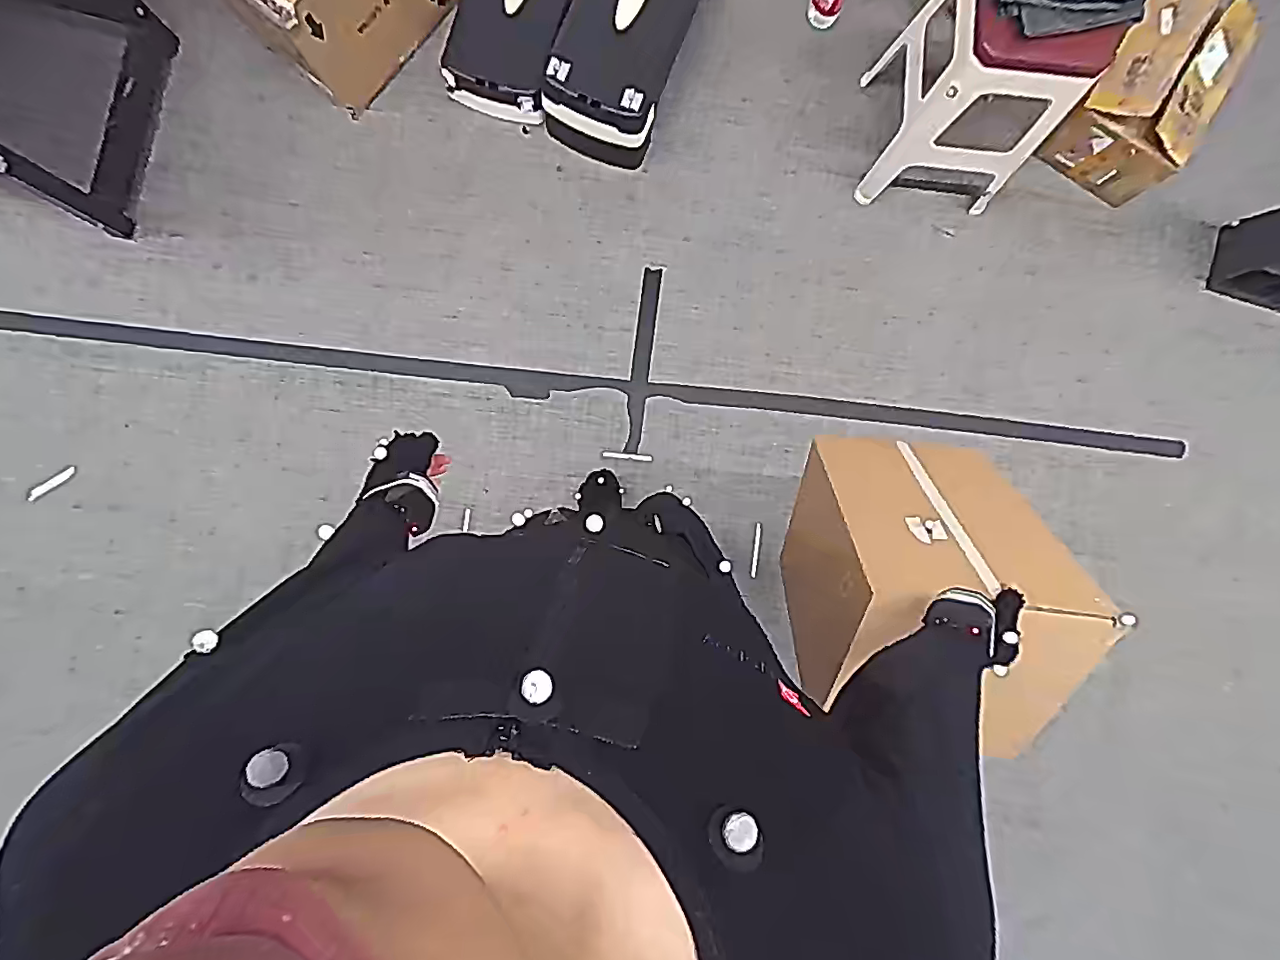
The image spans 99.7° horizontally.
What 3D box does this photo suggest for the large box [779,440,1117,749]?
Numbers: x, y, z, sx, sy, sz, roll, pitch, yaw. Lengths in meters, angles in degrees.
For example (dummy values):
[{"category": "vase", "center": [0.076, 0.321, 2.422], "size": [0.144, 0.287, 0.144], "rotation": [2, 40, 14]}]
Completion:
[{"category": "large box", "center": [0.450, 0.175, 0.927], "size": [0.320, 0.408, 0.320], "rotation": [5, 125, 1]}]
